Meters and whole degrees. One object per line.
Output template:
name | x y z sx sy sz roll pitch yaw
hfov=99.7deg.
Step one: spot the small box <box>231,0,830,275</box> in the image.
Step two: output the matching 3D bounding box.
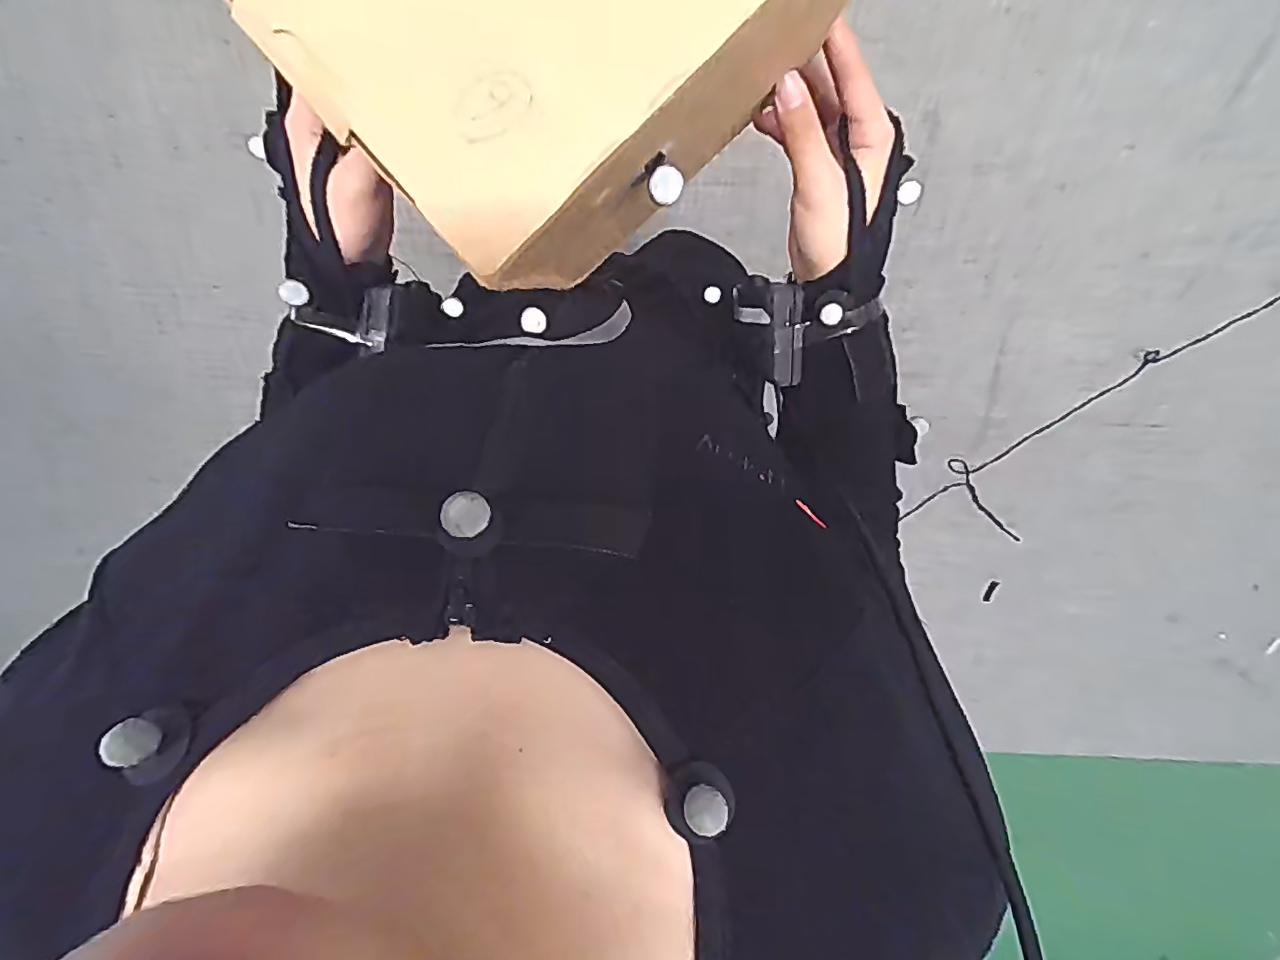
small box | -0.032 -0.202 0.217 0.179 0.176 0.168 -38 103 16
